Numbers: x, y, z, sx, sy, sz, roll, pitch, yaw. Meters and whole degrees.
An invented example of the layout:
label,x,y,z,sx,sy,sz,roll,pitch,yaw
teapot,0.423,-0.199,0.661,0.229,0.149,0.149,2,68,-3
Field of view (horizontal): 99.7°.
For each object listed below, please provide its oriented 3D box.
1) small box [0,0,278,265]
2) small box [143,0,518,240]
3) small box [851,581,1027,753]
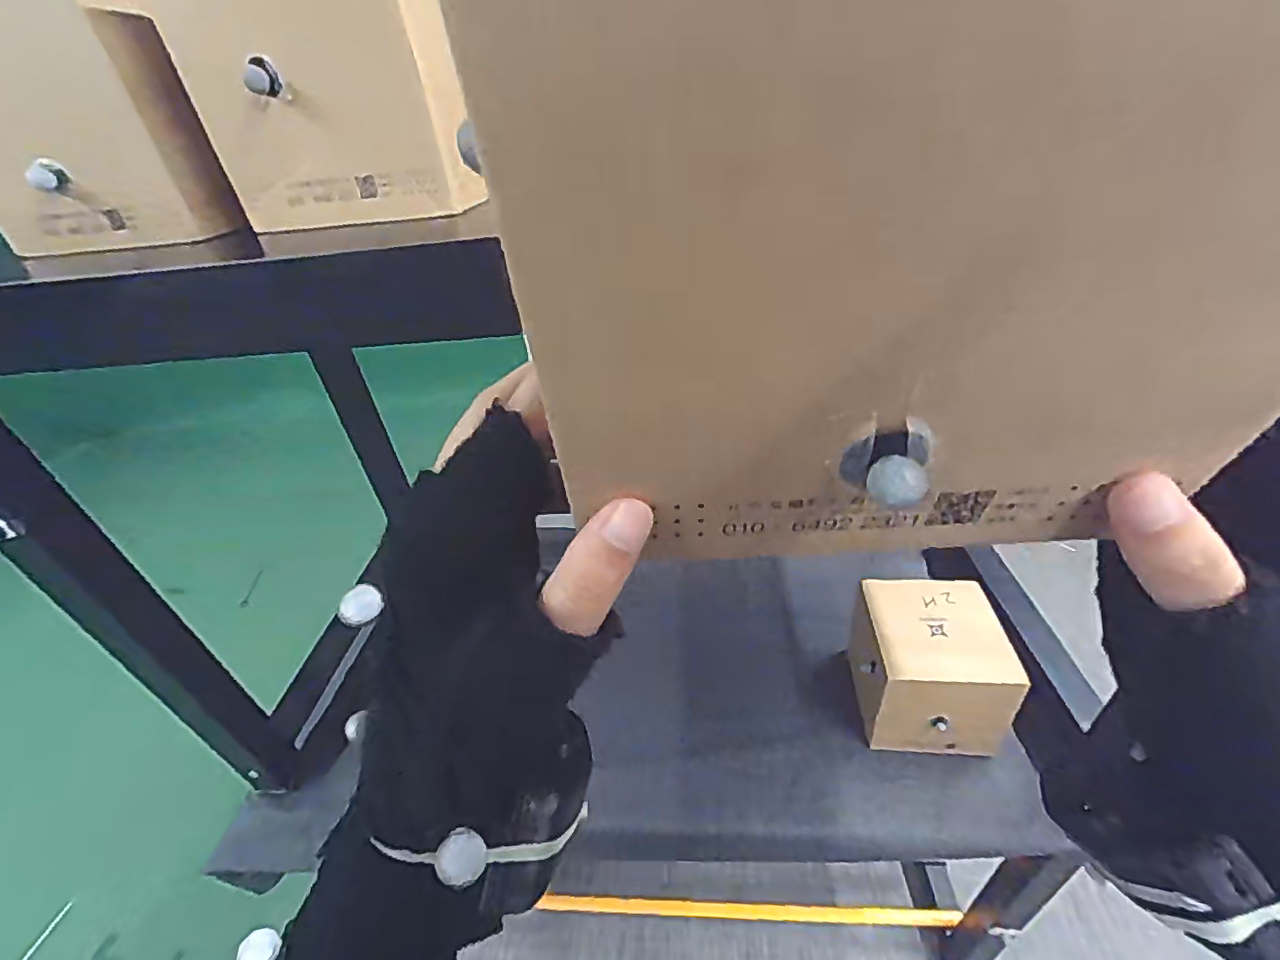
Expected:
label,x,y,z,sx,sy,sz,roll,pitch,yaw
small box,-0.406,-0.286,0.444,0.168,0.176,0.179,-2,36,7
small box,-0.210,-0.295,0.426,0.168,0.176,0.179,-1,35,8
small box,0.412,0.268,0.781,0.168,0.176,0.179,0,35,9
